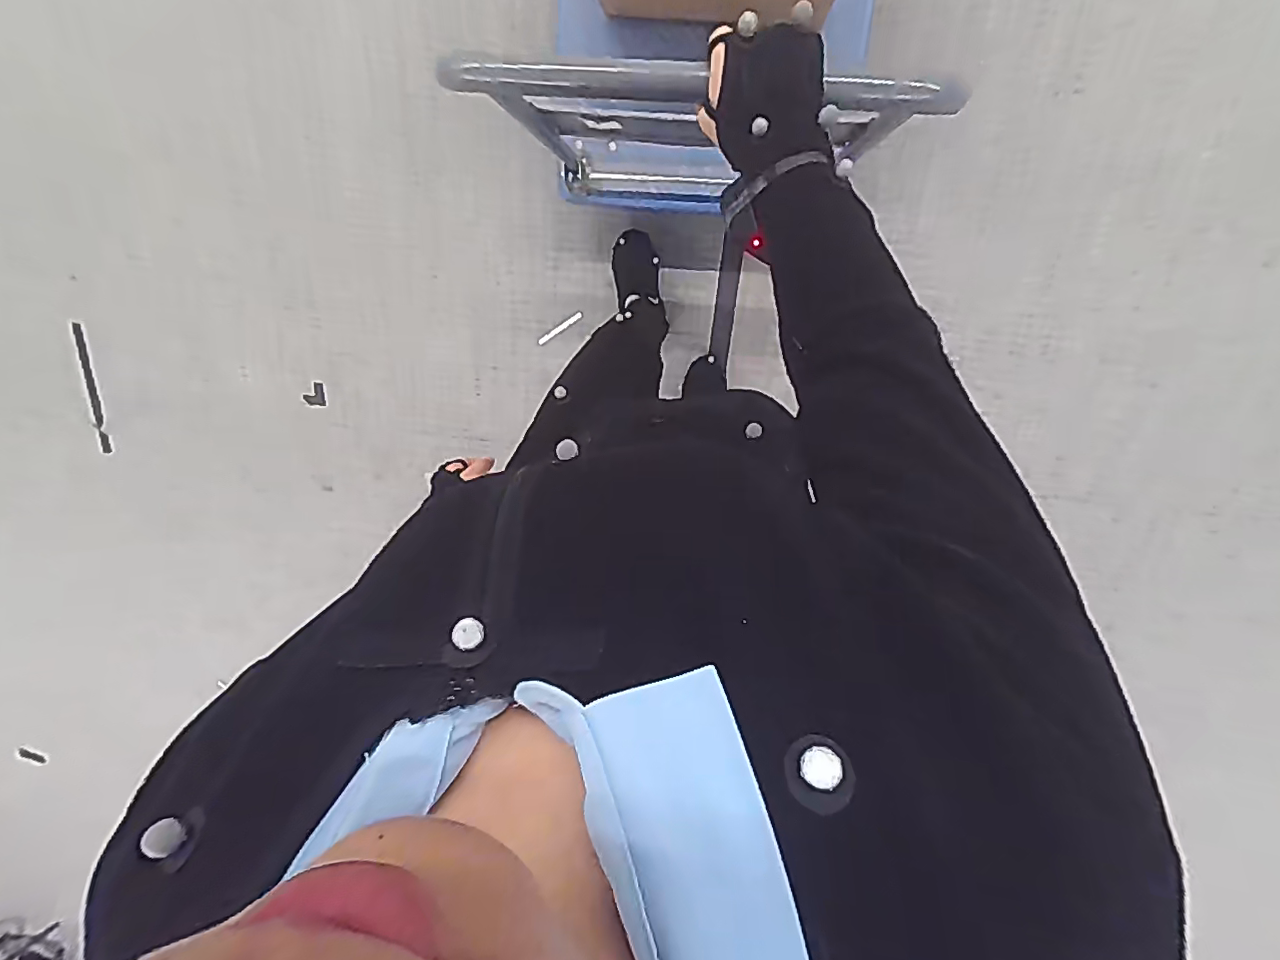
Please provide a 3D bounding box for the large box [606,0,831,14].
[{"bbox_3d":[0.127,-0.940,0.791,0.408,0.320,0.320,7,110,6],"label":"large box"}]
